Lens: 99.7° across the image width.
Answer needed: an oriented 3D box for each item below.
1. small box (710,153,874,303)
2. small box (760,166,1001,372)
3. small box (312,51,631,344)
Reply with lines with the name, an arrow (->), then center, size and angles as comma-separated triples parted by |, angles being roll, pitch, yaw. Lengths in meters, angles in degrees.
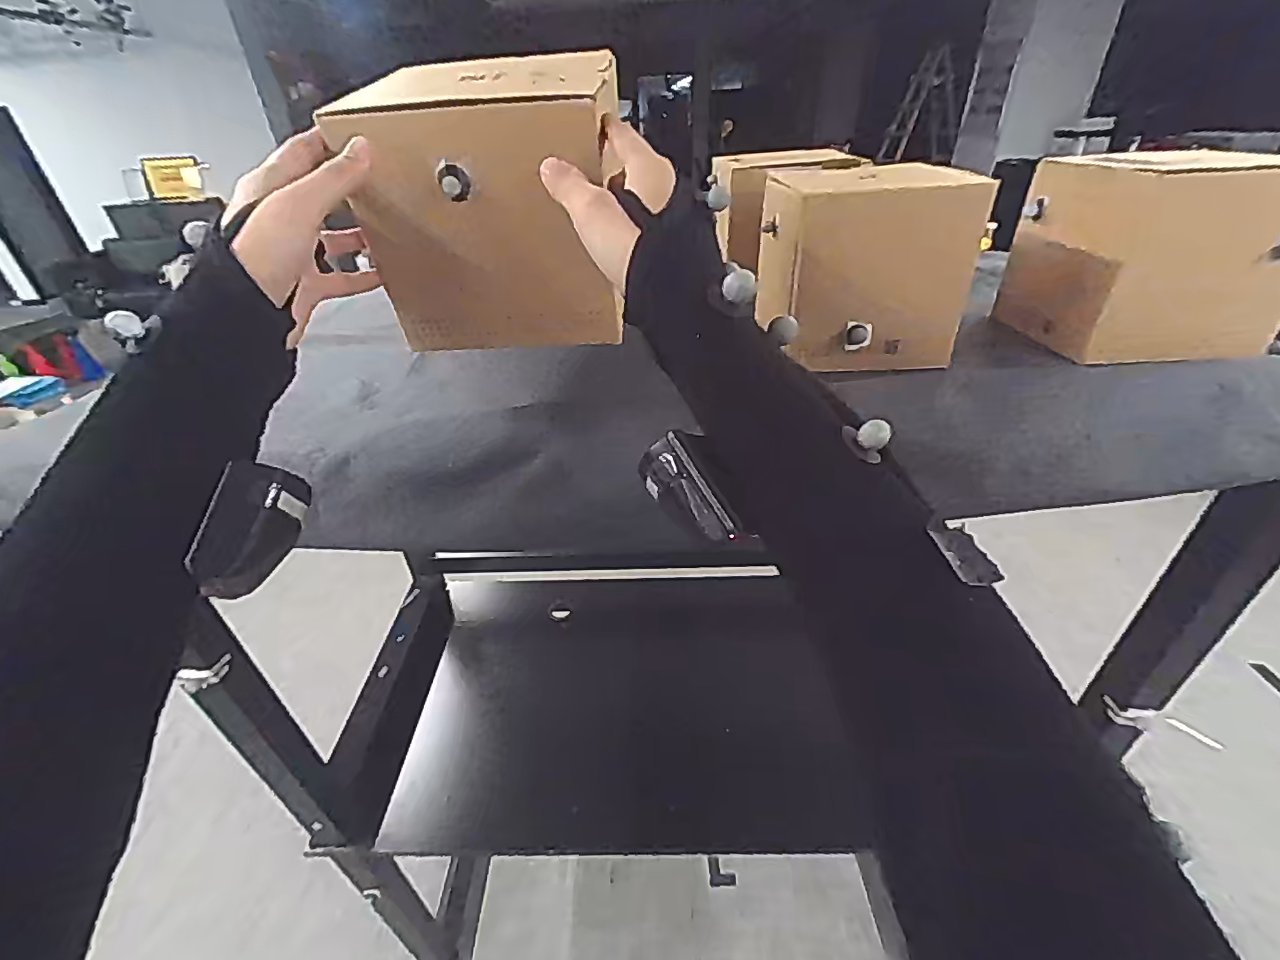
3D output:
small box -> 0.197, -0.354, 0.758 | 0.179, 0.176, 0.168 | -2, 33, 0
small box -> 0.221, -0.221, 0.559 | 0.168, 0.176, 0.179 | -2, 33, 3
small box -> -0.104, -0.220, 0.430 | 0.179, 0.176, 0.168 | -1, 45, 4
